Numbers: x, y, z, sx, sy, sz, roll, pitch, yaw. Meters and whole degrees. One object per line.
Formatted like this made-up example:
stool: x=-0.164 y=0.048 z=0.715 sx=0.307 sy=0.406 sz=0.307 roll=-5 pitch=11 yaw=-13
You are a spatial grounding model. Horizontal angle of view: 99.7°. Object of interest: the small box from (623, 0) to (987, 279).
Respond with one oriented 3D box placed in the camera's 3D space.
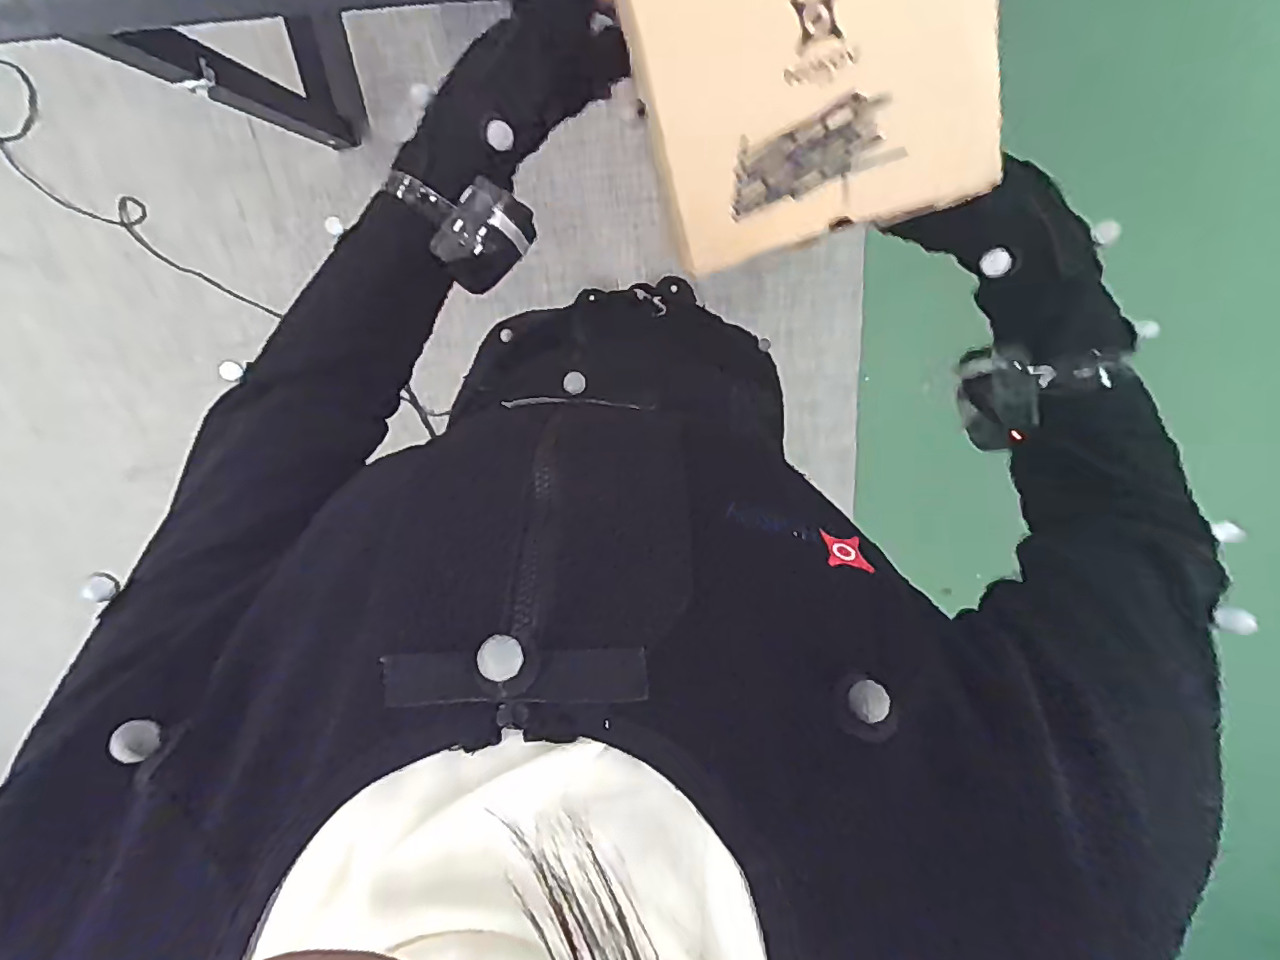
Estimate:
small box: x=0.088 y=-0.244 z=0.342 sx=0.168 sy=0.176 sz=0.179 roll=-14 pitch=113 yaw=7
